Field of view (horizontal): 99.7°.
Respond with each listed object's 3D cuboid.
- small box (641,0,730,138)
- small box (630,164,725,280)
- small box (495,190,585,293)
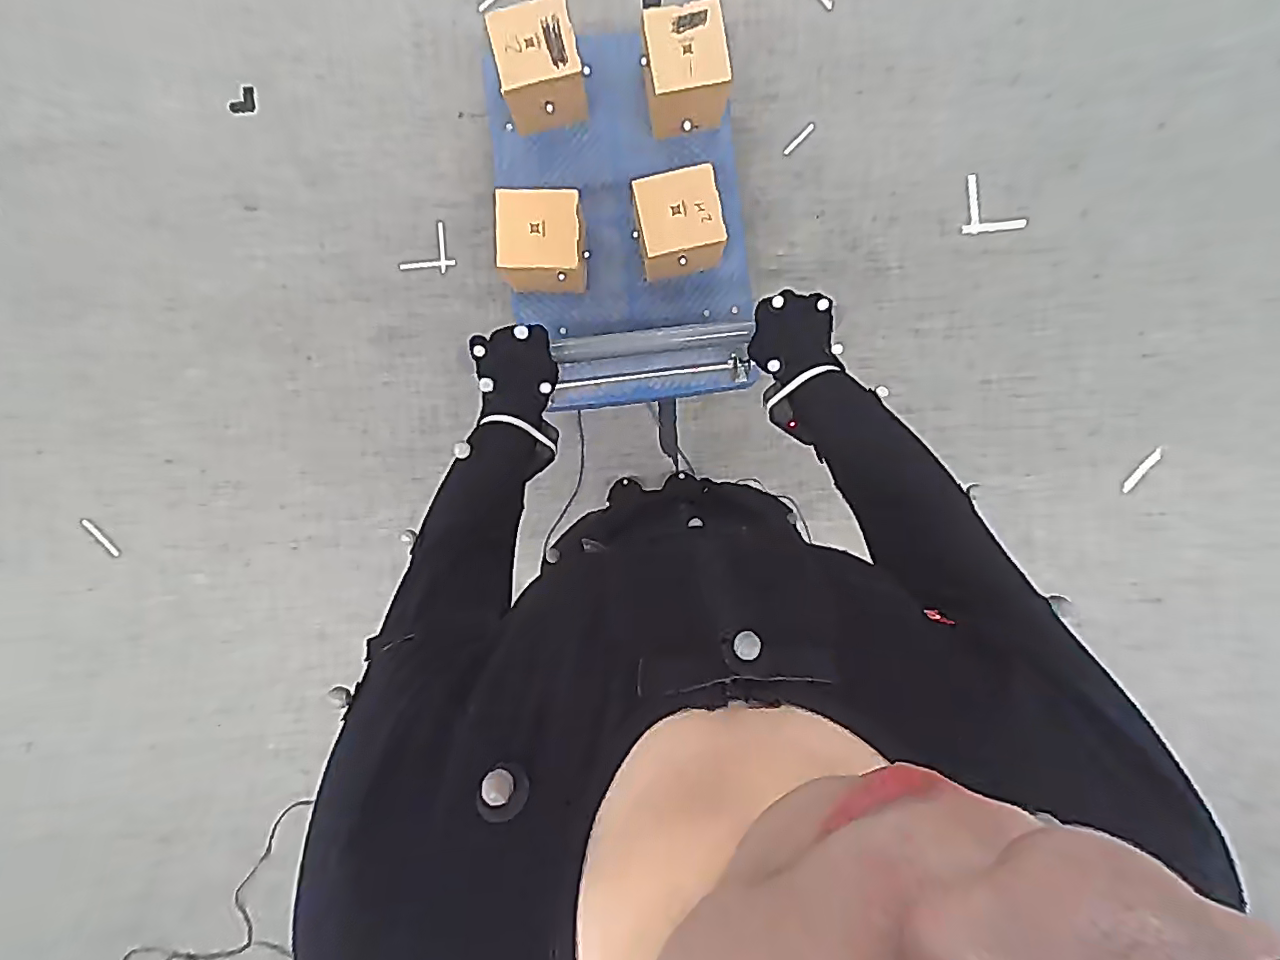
[{"bbox_3d":[0.095,-0.907,1.204,0.168,0.176,0.179,-10,93,1],"label":"small box"},{"bbox_3d":[0.082,-0.568,1.216,0.179,0.176,0.168,-12,92,1],"label":"small box"},{"bbox_3d":[-0.219,-0.530,1.221,0.179,0.176,0.168,-1,92,-1],"label":"small box"}]
